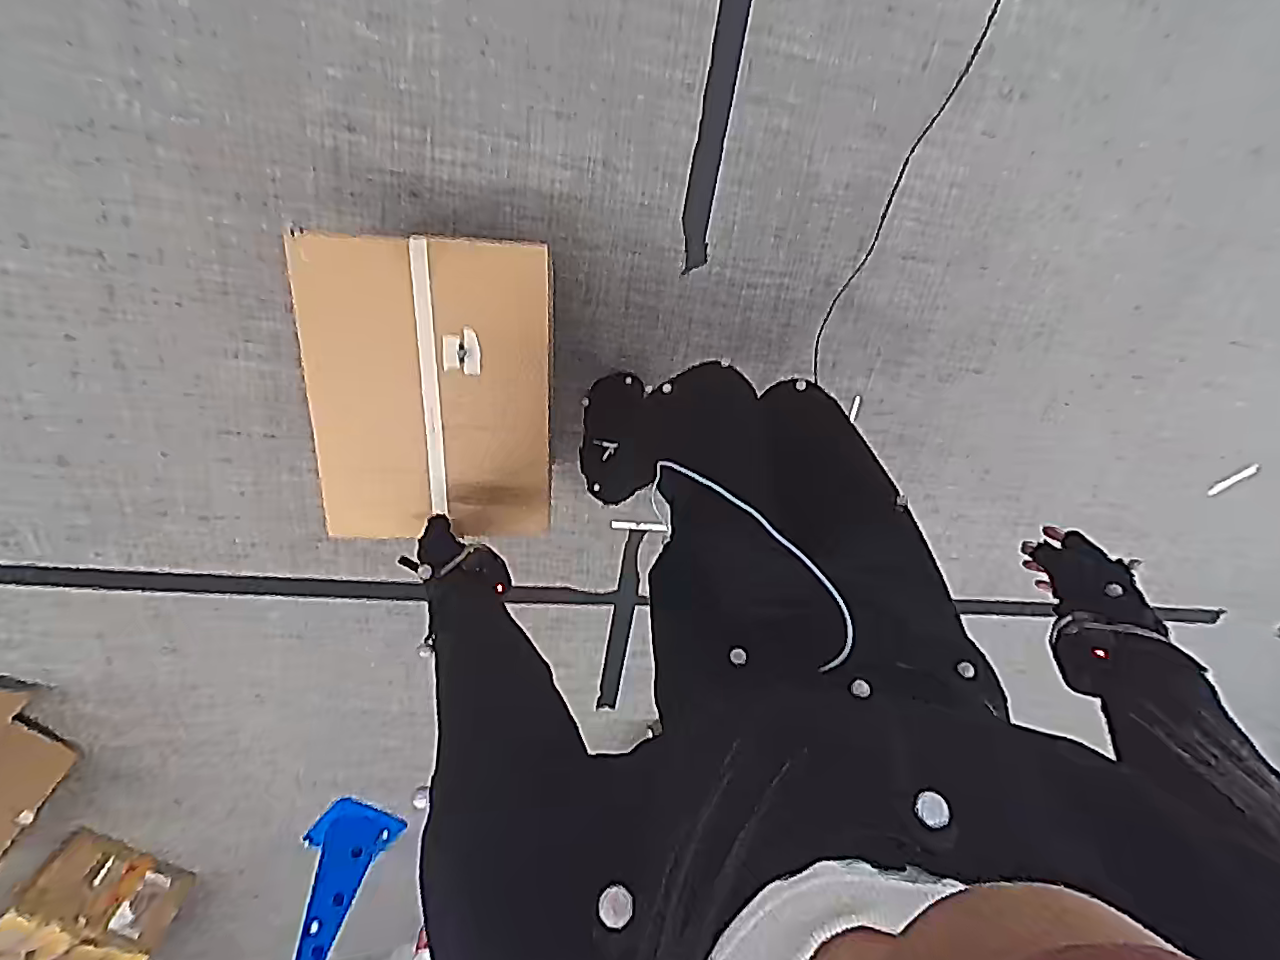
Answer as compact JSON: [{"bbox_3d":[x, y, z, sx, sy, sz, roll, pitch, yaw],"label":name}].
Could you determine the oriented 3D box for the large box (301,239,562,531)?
[{"bbox_3d":[-0.292,-0.160,0.892,0.320,0.320,0.408,0,109,-8],"label":"large box"}]
